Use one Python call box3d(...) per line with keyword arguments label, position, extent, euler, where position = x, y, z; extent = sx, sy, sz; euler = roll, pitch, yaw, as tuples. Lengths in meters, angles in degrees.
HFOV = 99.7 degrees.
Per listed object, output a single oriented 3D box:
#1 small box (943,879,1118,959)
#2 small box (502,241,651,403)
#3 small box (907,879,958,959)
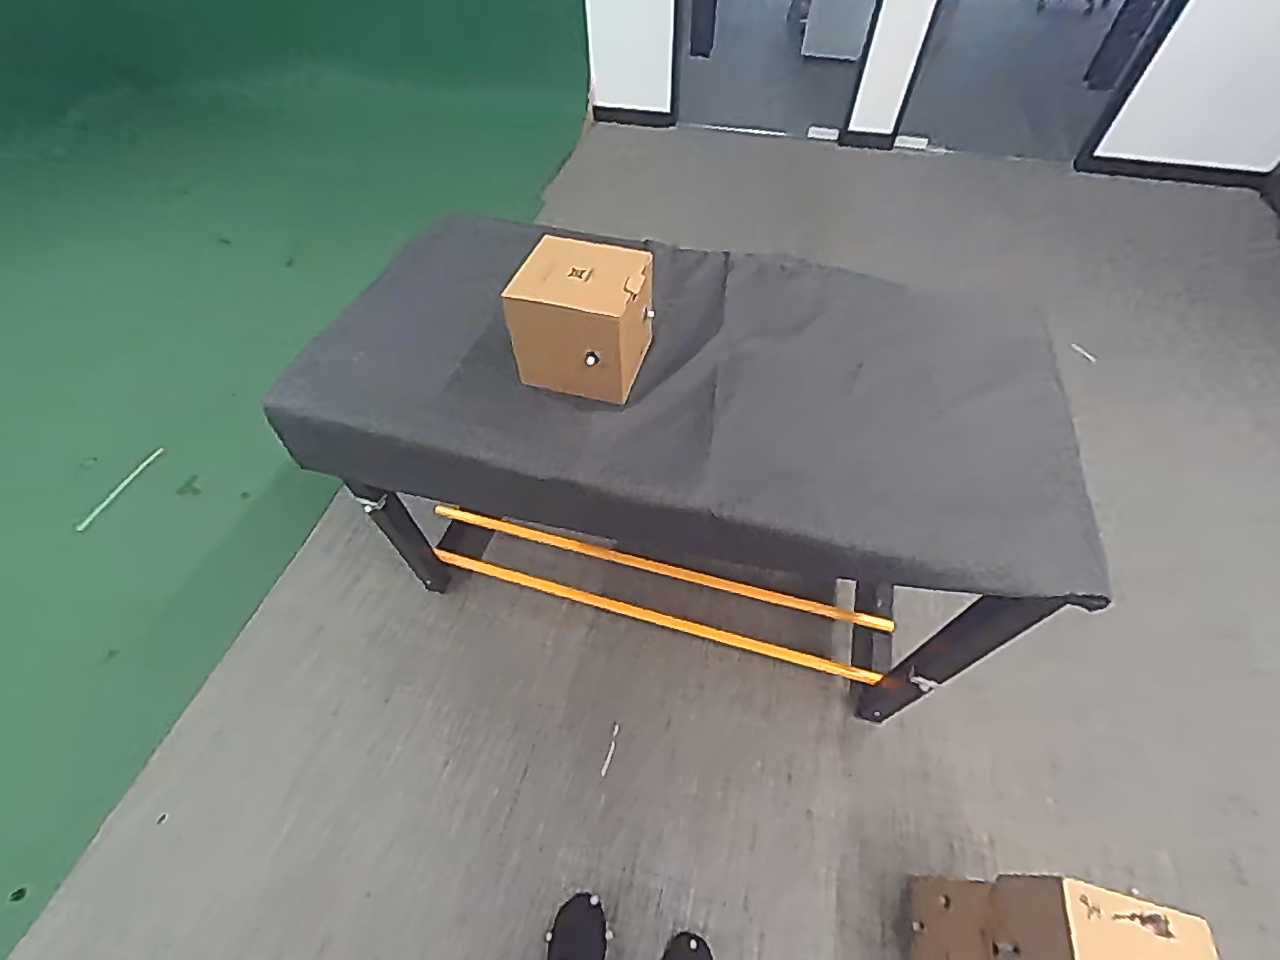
box3d(label="small box", position=(0.584, 0.732, 0.822), extent=(0.179, 0.176, 0.168), euler=(12, 55, 8))
box3d(label="small box", position=(-0.088, -0.241, 0.844), extent=(0.179, 0.176, 0.168), euler=(12, 53, 10))
box3d(label="small box", position=(0.597, 0.830, 0.955), extent=(0.179, 0.176, 0.168), euler=(13, 54, 10))
